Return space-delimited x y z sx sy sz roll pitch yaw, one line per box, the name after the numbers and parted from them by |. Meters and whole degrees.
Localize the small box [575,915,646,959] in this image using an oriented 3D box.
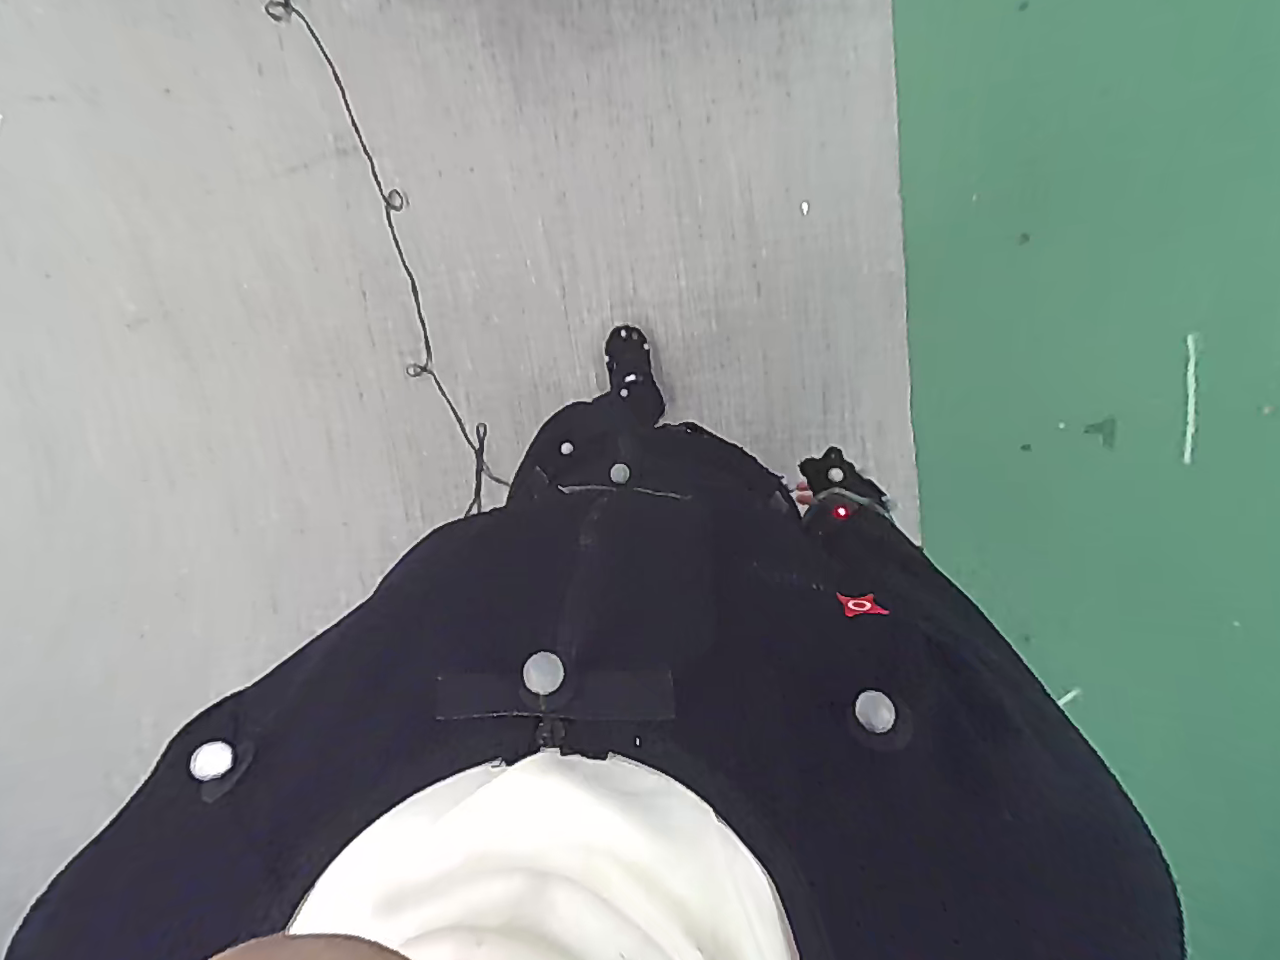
-0.071 1.263 1.379 0.168 0.176 0.179 -6 97 3 | small box
